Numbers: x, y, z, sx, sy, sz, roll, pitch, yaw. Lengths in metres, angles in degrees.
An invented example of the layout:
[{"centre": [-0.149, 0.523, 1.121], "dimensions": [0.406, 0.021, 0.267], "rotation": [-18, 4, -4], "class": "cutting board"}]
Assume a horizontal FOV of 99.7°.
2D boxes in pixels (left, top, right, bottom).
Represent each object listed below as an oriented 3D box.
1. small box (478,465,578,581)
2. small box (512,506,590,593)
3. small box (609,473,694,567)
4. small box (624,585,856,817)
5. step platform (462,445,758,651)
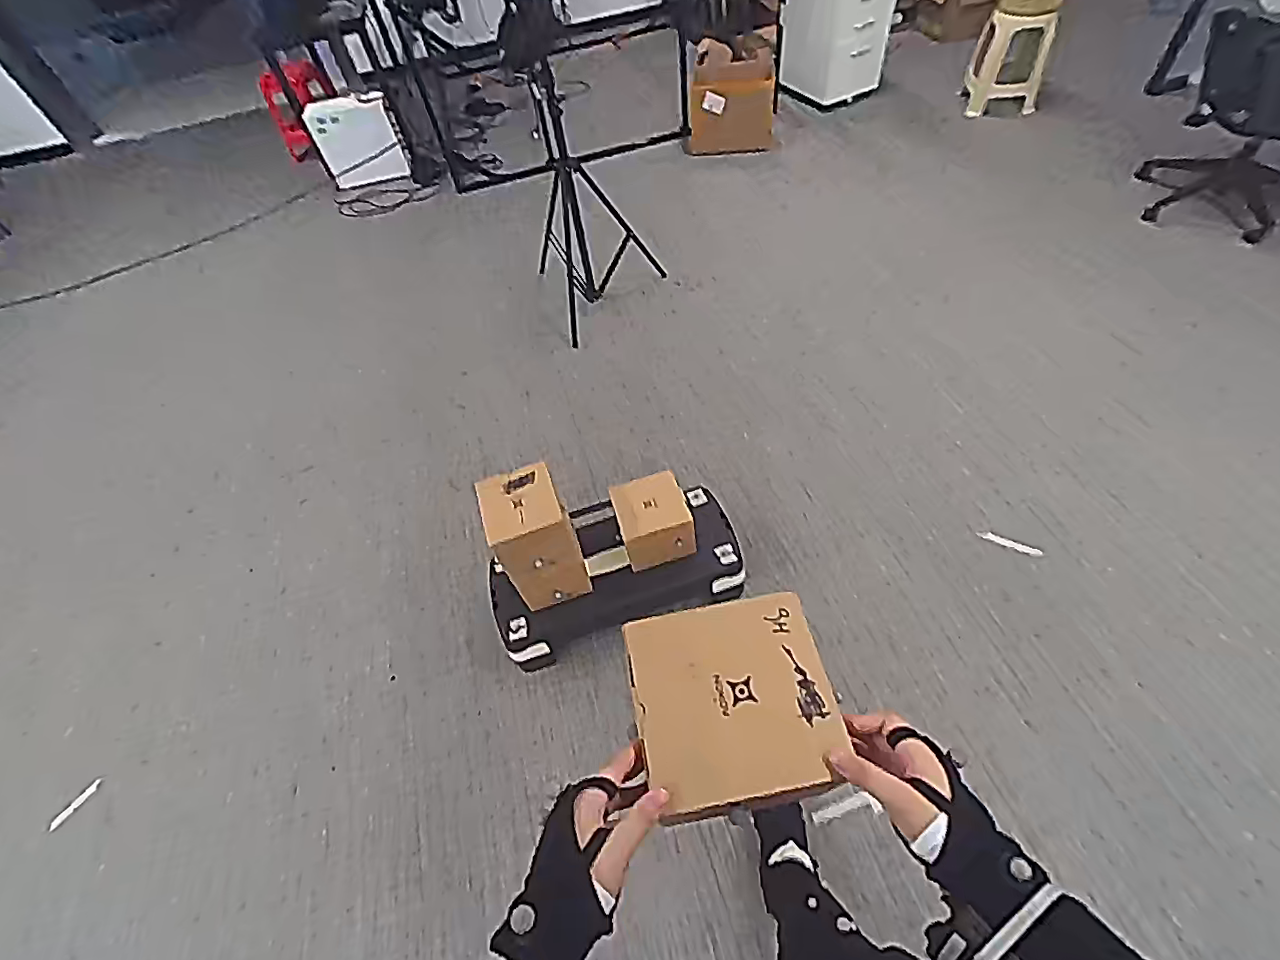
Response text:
[{"centre": [-0.253, 0.100, 1.233], "dimensions": [0.168, 0.176, 0.179], "rotation": [-19, 54, -7], "class": "small box"}, {"centre": [-0.231, 0.200, 1.361], "dimensions": [0.168, 0.176, 0.179], "rotation": [-18, 54, -6], "class": "small box"}, {"centre": [0.034, 0.113, 1.392], "dimensions": [0.179, 0.176, 0.168], "rotation": [-18, 53, -3], "class": "small box"}, {"centre": [0.088, 0.229, 0.549], "dimensions": [0.179, 0.176, 0.168], "rotation": [-10, 54, -2], "class": "small box"}, {"centre": [-0.065, 0.165, 1.321], "dimensions": [0.684, 0.204, 0.286], "rotation": [-18, 53, -6], "class": "step platform"}]
